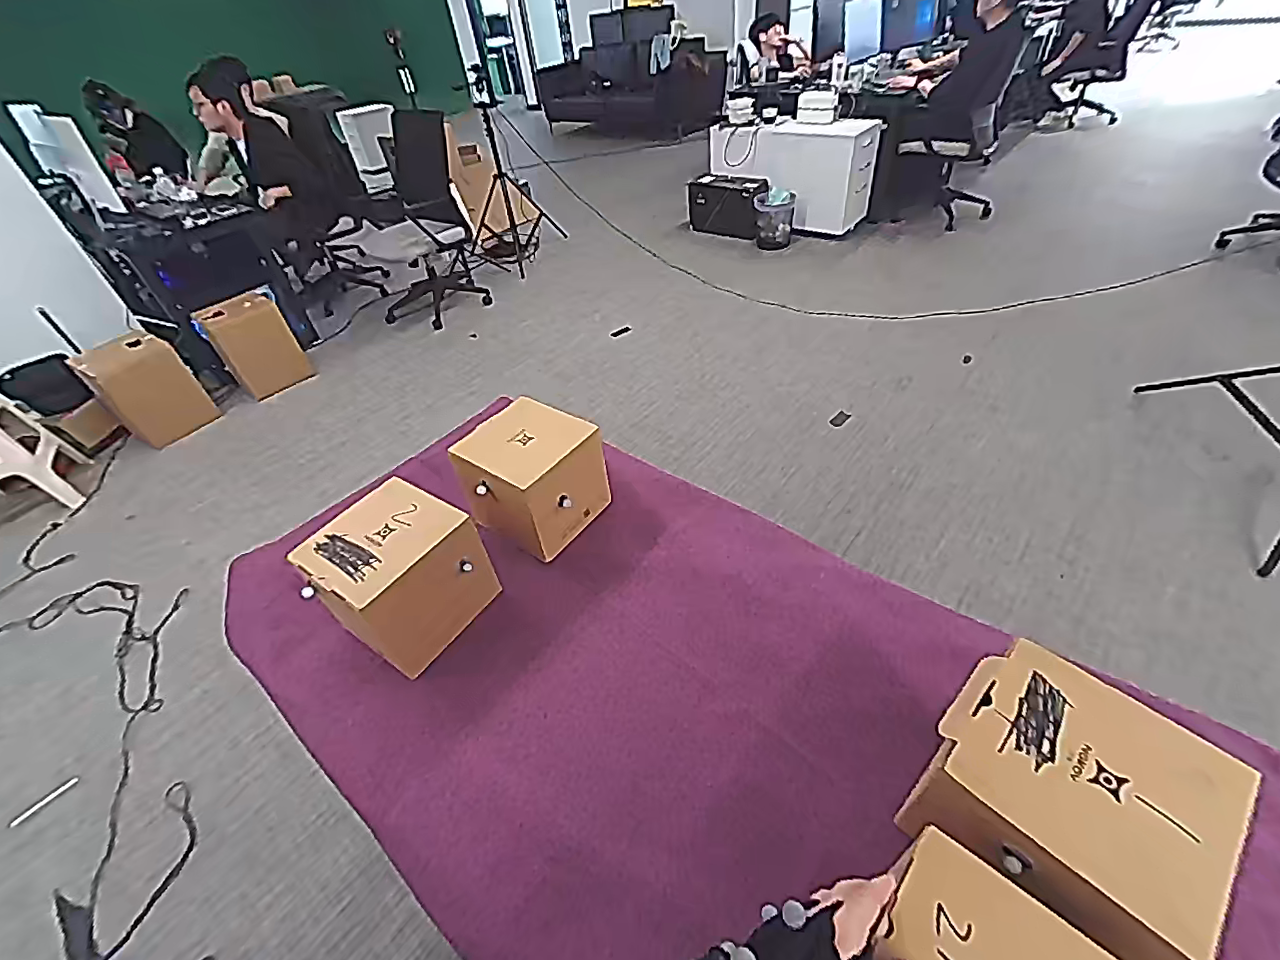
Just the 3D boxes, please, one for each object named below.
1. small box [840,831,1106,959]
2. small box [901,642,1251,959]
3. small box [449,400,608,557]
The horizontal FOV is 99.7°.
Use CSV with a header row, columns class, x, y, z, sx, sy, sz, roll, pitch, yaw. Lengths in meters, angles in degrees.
class,x,y,z,sx,sy,sz,roll,pitch,yaw
small box,0.238,0.404,0.385,0.179,0.176,0.168,29,54,34
small box,0.370,0.292,0.491,0.168,0.176,0.179,-37,51,-26
small box,-0.170,0.001,0.884,0.179,0.176,0.168,24,51,29
